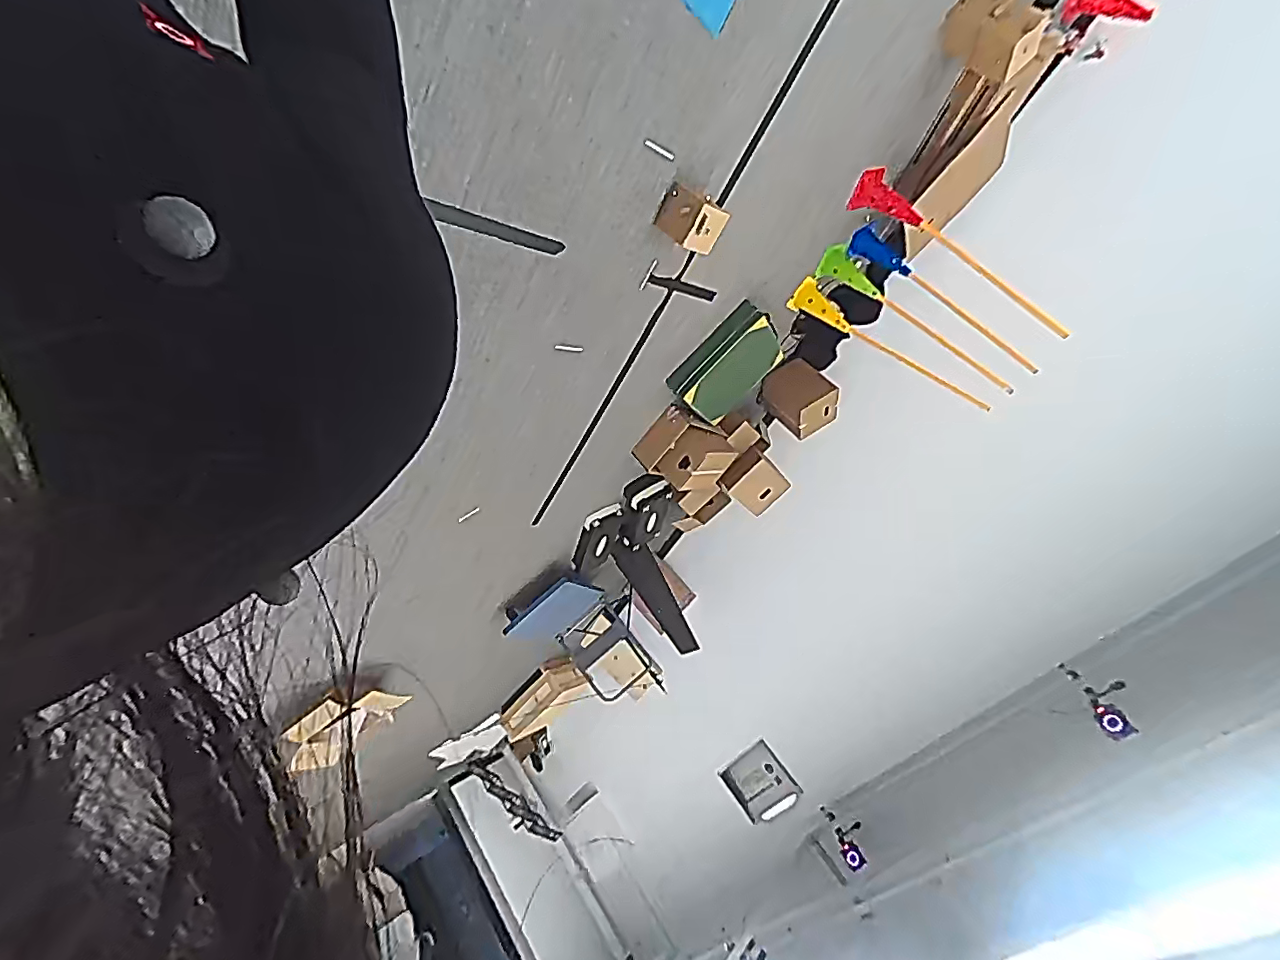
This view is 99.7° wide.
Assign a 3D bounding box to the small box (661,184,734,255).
[{"bbox_3d":[0.210,-0.974,2.020,0.179,0.176,0.168,-12,144,-49],"label":"small box"}]
